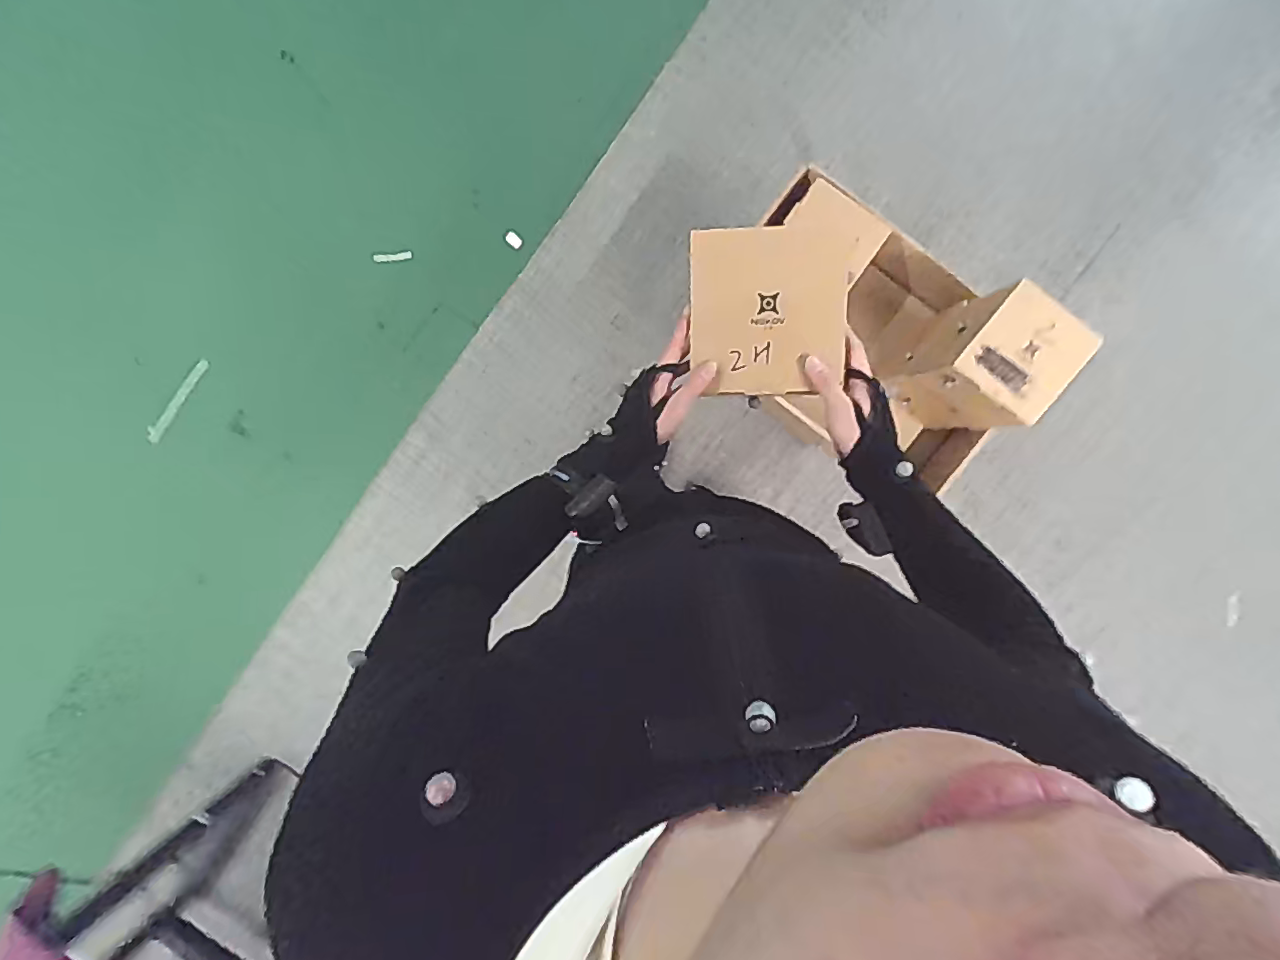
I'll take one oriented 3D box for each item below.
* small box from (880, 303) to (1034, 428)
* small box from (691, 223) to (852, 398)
[{"bbox_3d":[0.627,-0.222,1.097,0.168,0.176,0.179,39,95,-1],"label":"small box"},{"bbox_3d":[0.146,-0.191,0.653,0.168,0.176,0.179,1,98,7],"label":"small box"}]
